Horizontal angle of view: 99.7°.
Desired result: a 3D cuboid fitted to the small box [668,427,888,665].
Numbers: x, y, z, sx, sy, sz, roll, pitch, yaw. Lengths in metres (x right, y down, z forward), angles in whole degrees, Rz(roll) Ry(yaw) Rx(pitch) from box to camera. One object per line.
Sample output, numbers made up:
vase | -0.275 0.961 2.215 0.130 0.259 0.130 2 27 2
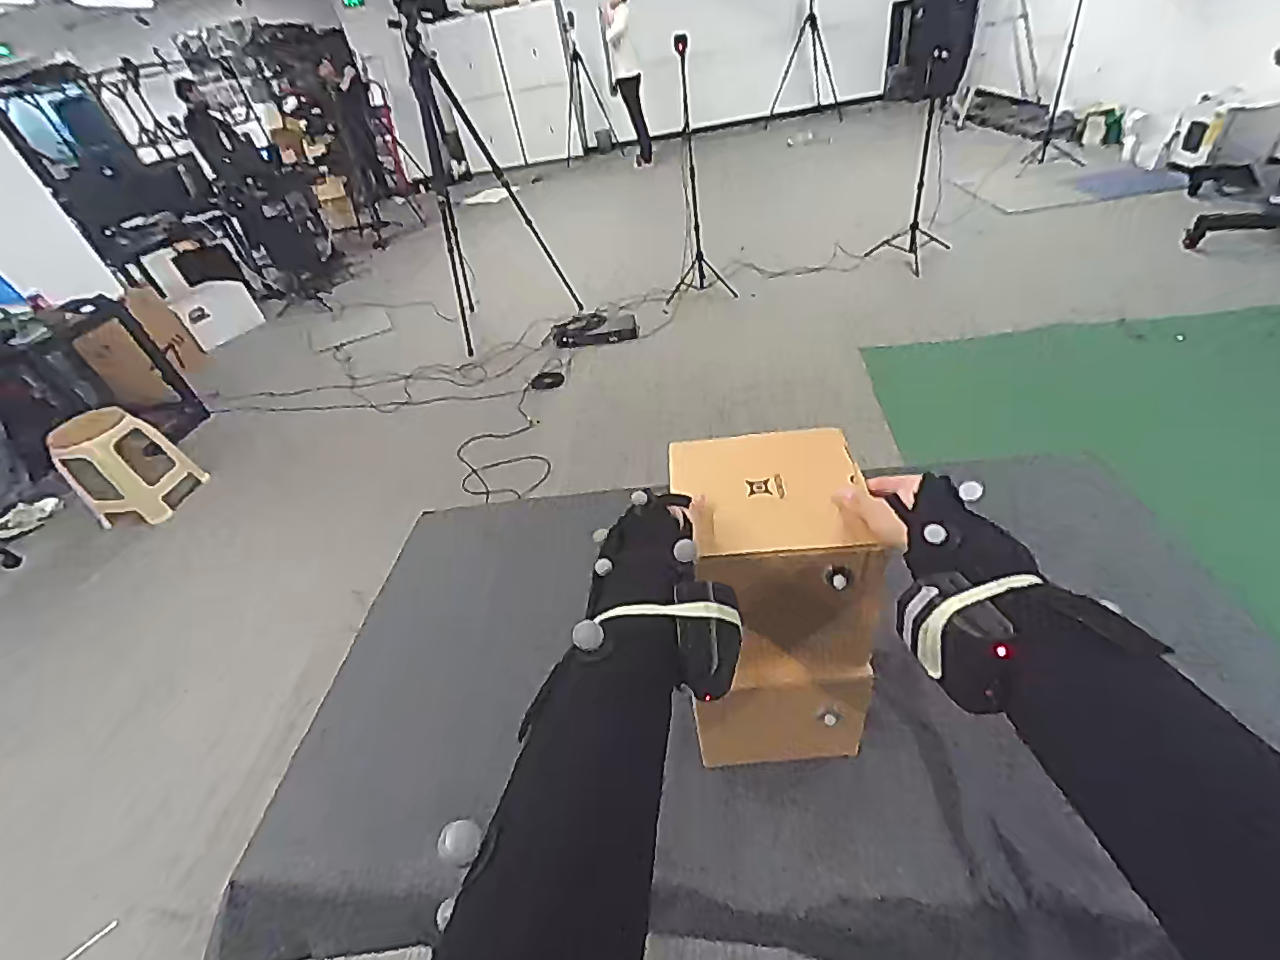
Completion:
small box | 0.126 0.068 0.542 0.179 0.176 0.168 -5 39 6
